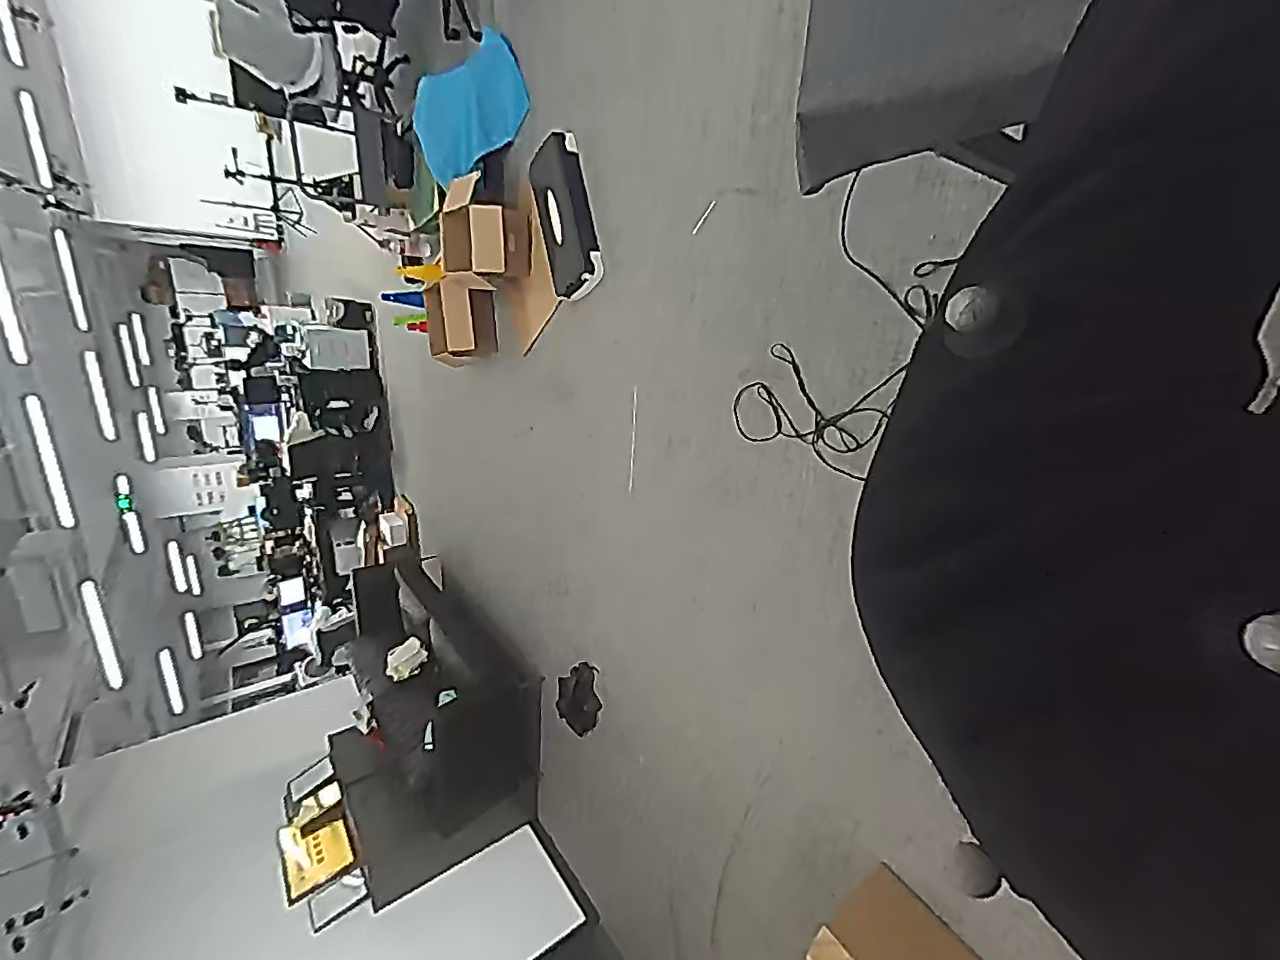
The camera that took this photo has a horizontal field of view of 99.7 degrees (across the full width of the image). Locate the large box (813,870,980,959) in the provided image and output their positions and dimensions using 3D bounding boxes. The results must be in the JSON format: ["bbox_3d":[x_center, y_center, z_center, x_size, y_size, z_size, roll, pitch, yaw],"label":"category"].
[{"bbox_3d":[0.728,1.411,1.474,0.408,0.320,0.320,35,124,45],"label":"large box"}]
